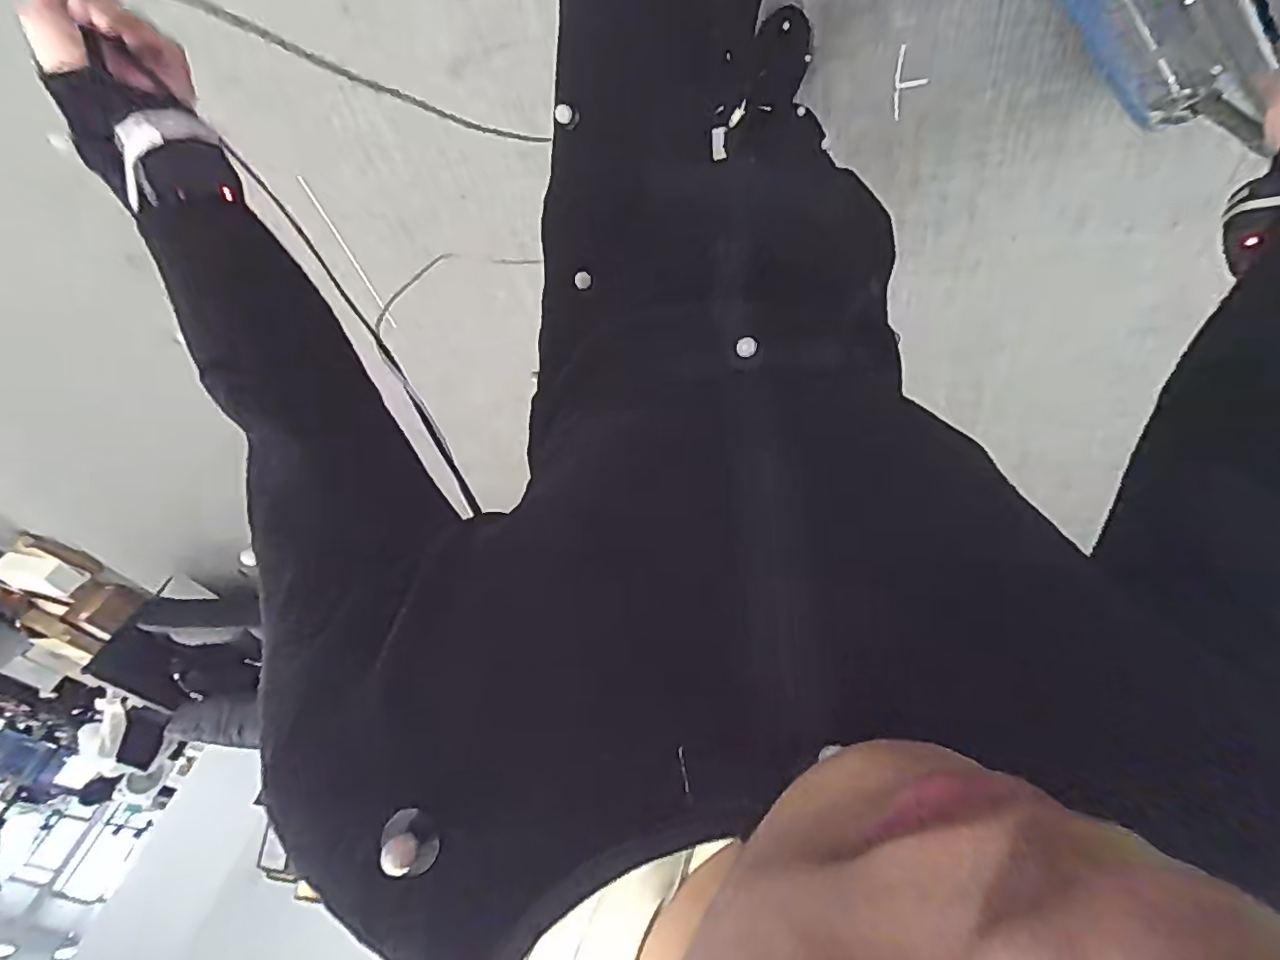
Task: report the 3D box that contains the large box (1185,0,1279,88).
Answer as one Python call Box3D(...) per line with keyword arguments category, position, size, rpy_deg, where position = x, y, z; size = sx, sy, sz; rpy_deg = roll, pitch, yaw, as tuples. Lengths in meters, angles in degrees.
Box3D(category="large box", position=(0.953, -0.759, 0.635), size=(0.320, 0.320, 0.408), rpy_deg=(31, 134, -21))
